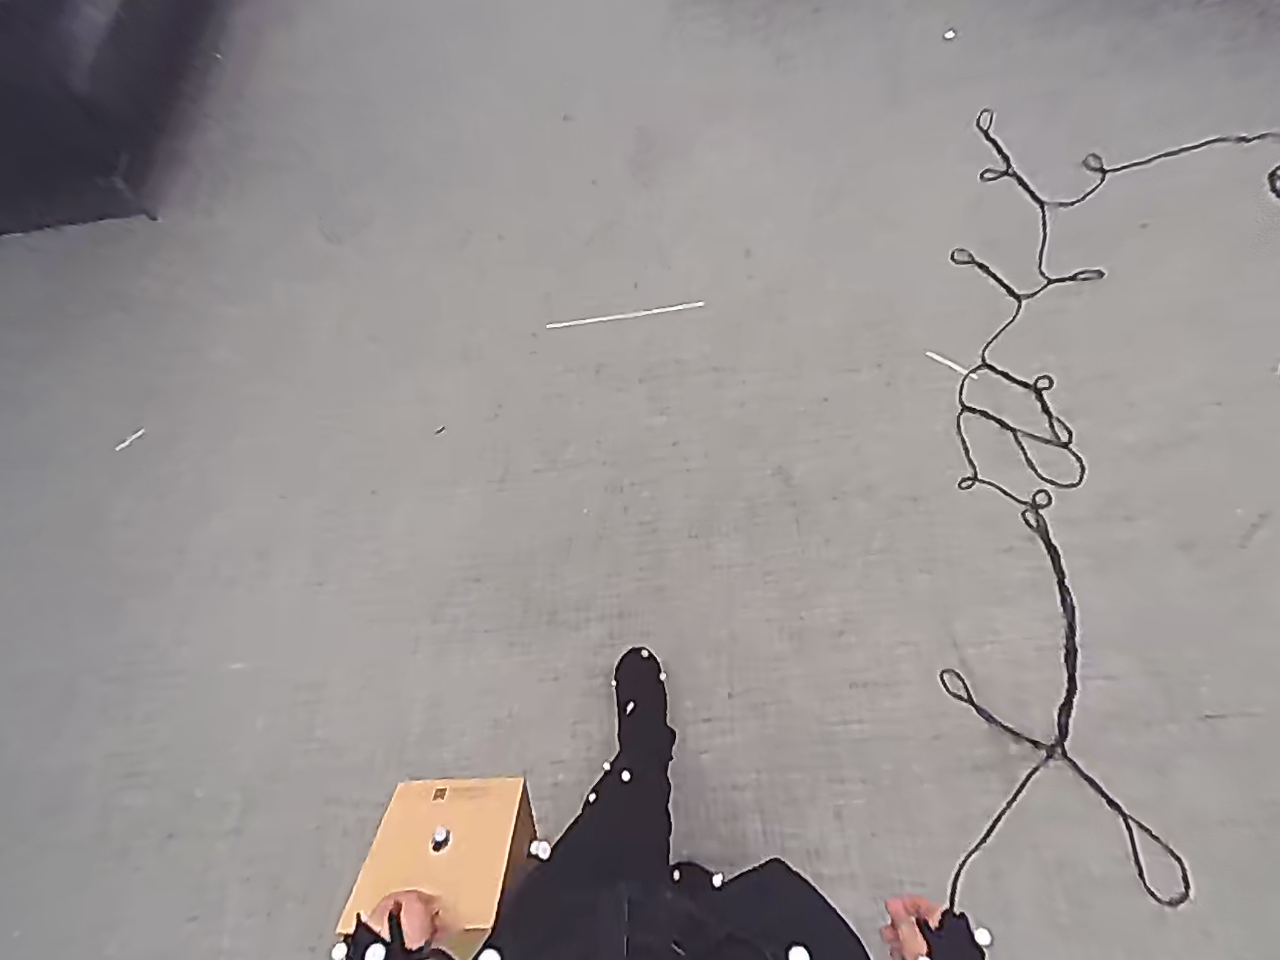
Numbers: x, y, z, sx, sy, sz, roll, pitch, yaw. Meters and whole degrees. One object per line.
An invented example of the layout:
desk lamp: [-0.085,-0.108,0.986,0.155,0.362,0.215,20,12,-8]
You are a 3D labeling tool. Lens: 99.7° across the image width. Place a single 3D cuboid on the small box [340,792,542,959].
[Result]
small box: [-0.221,0.506,0.655,0.168,0.179,0.176,-3,23,2]
